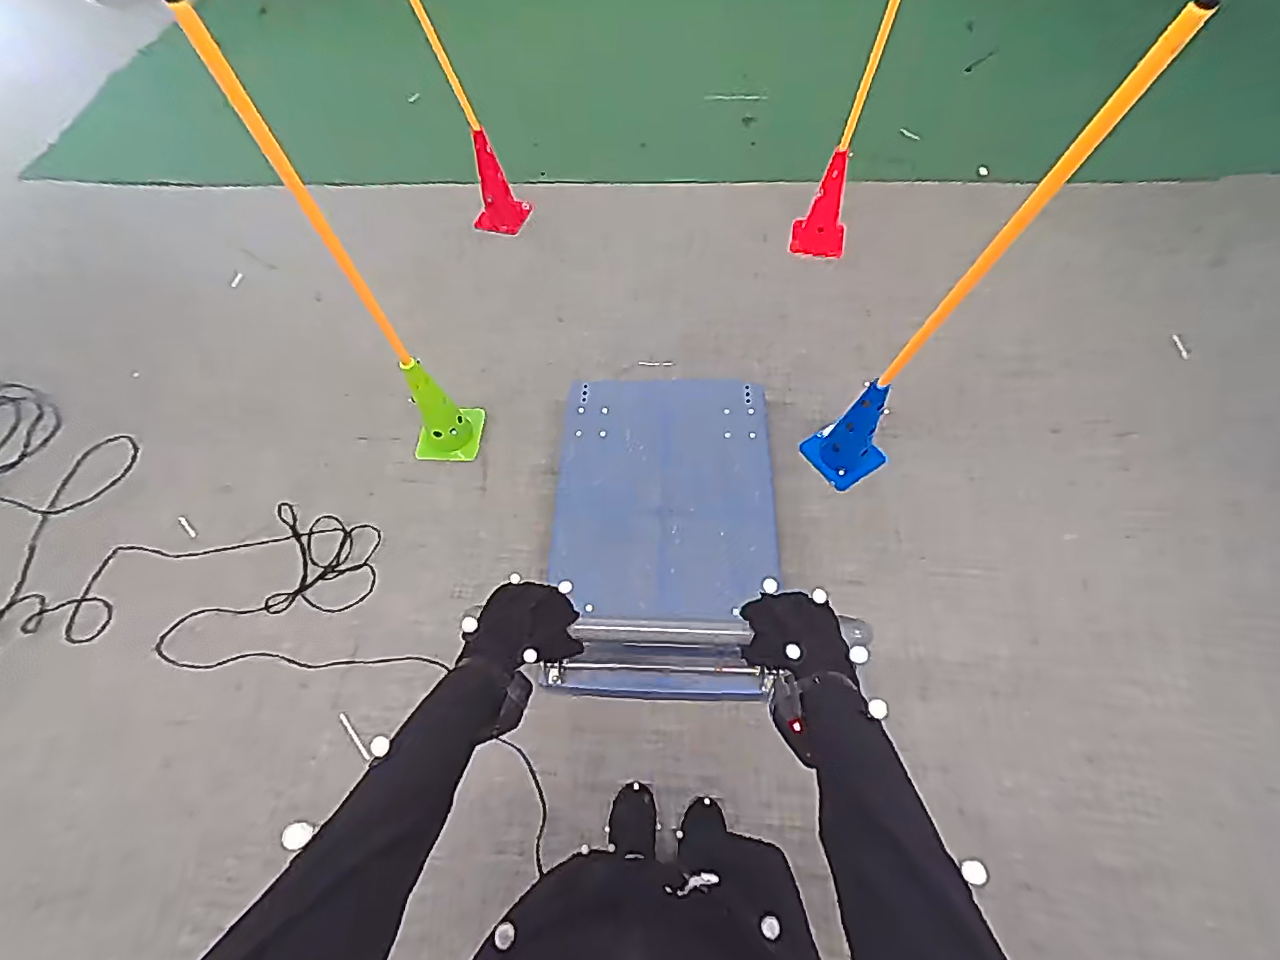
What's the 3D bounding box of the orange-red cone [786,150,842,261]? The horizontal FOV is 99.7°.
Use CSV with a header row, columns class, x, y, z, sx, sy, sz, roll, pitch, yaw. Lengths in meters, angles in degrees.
class,x,y,z,sx,sy,sz,roll,pitch,yaw
orange-red cone,0.677,-1.022,1.984,0.198,0.360,0.199,11,64,9
